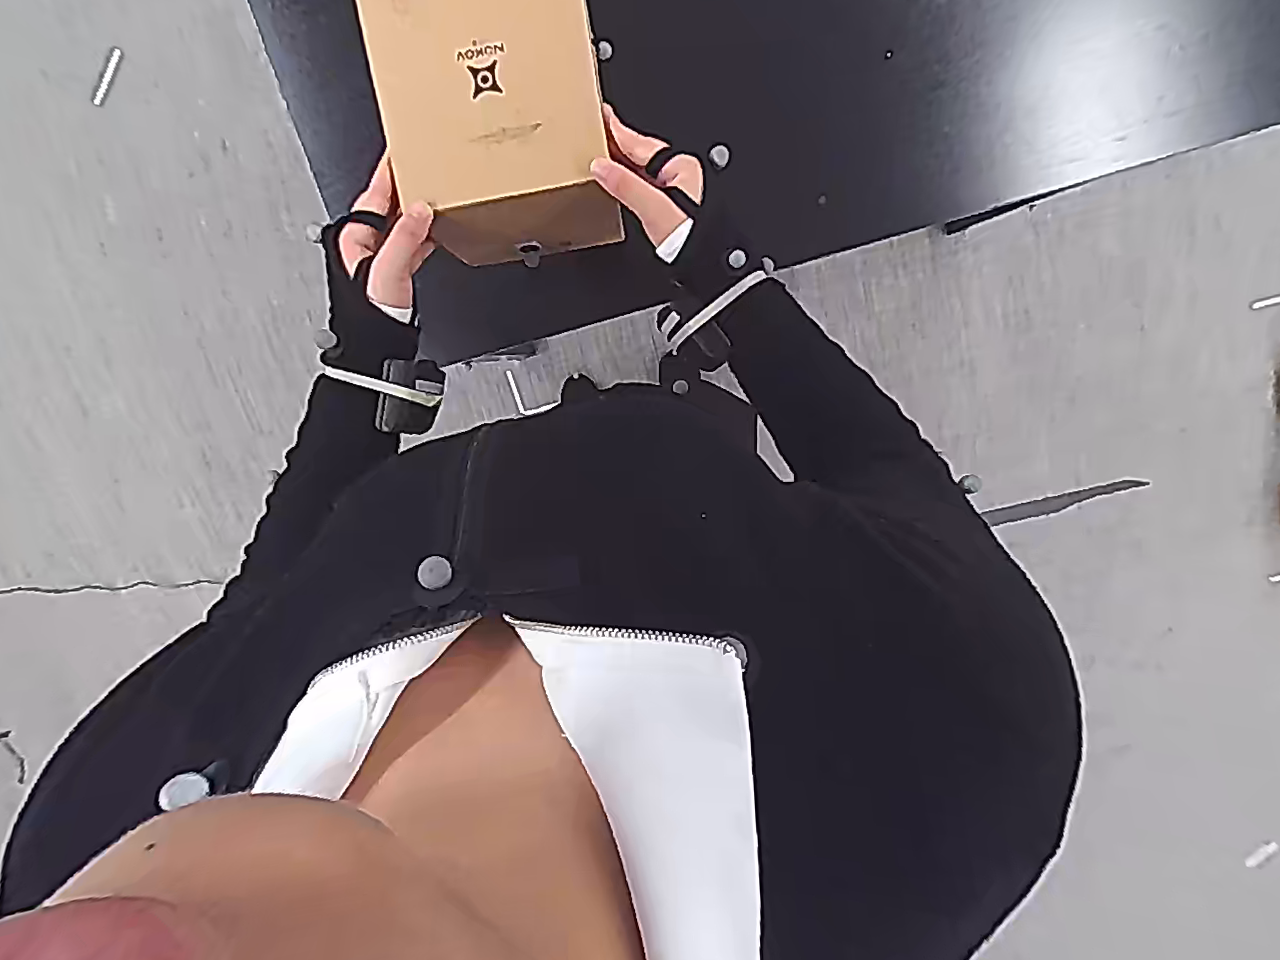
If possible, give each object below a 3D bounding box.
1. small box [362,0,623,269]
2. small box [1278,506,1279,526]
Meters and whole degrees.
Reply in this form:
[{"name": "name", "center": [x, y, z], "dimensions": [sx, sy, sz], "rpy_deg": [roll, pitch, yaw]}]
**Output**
[{"name": "small box", "center": [-0.110, -0.306, 0.476], "dimensions": [0.168, 0.176, 0.179], "rpy_deg": [-9, 99, 3]}, {"name": "small box", "center": [1.884, 0.063, 1.445], "dimensions": [0.179, 0.176, 0.168], "rpy_deg": [-13, 103, 4]}]
